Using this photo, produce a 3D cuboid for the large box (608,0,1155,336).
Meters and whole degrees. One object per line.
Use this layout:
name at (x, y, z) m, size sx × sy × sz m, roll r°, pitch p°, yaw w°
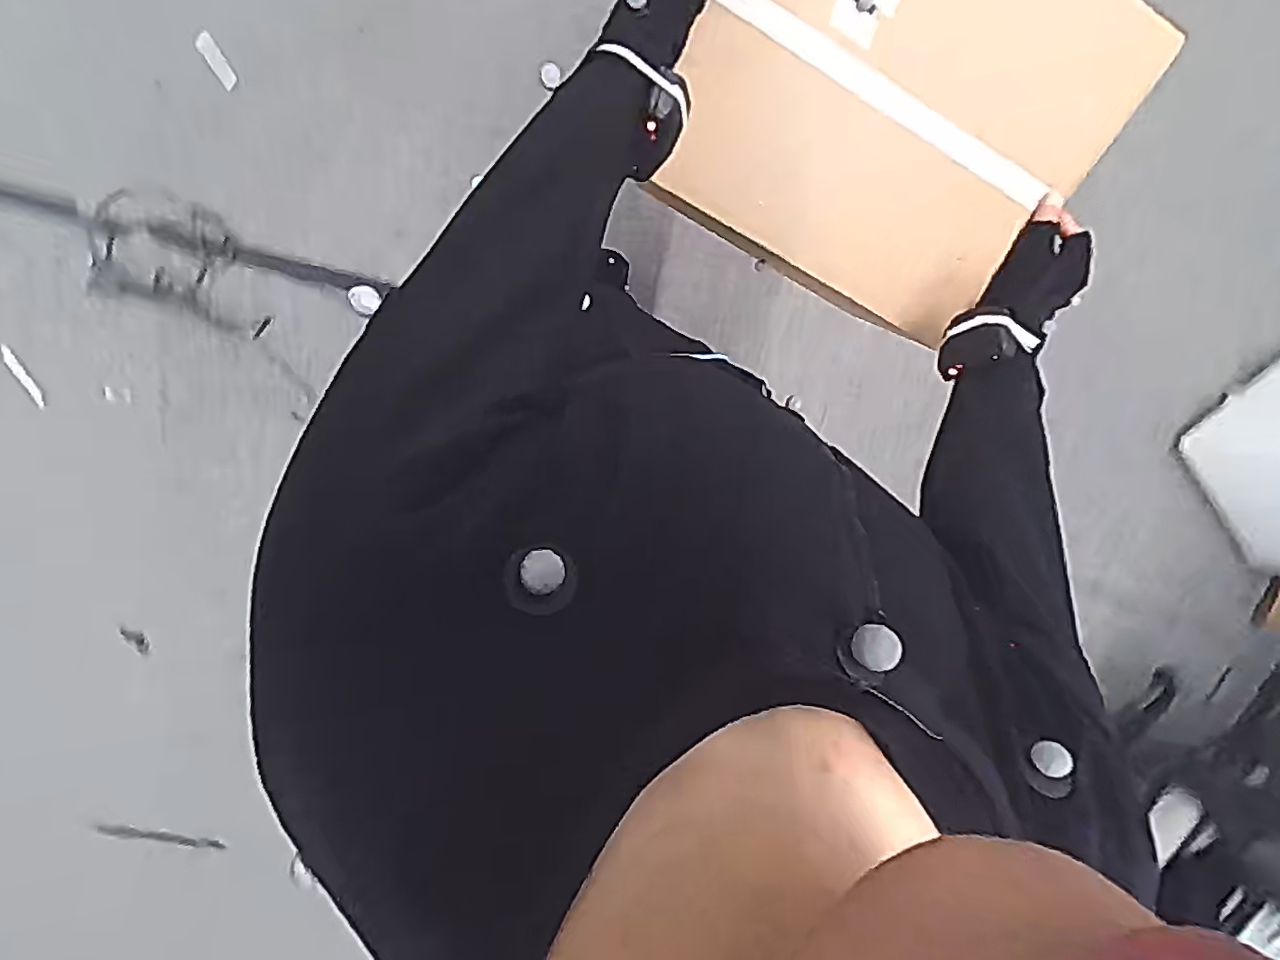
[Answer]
large box at (0.219, -0.419, 0.639) m, size 0.408 × 0.320 × 0.320 m, roll 25°, pitch 112°, yaw -8°
